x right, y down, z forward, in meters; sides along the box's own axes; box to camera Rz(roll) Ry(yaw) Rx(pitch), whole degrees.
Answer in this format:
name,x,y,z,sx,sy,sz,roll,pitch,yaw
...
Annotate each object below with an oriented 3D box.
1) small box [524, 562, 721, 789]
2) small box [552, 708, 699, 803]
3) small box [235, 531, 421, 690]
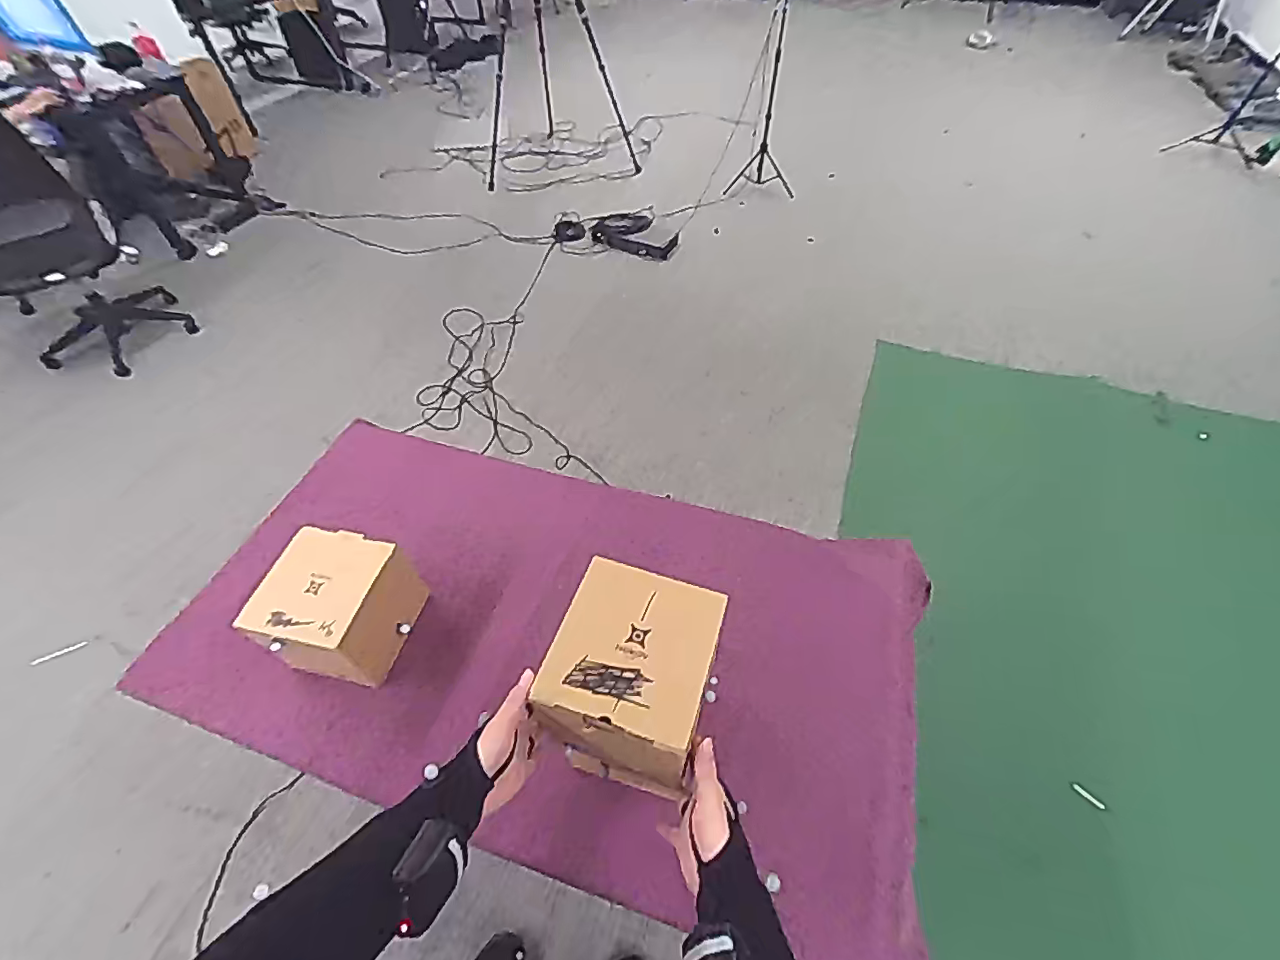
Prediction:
name,x,y,z,sx,sy,sz,roll,pitch,yaw
small box,-0.011,0.231,0.633,0.168,0.176,0.179,15,51,13
small box,-0.006,0.330,0.765,0.168,0.176,0.179,12,51,11
small box,-0.478,0.210,0.868,0.168,0.176,0.179,9,52,9
